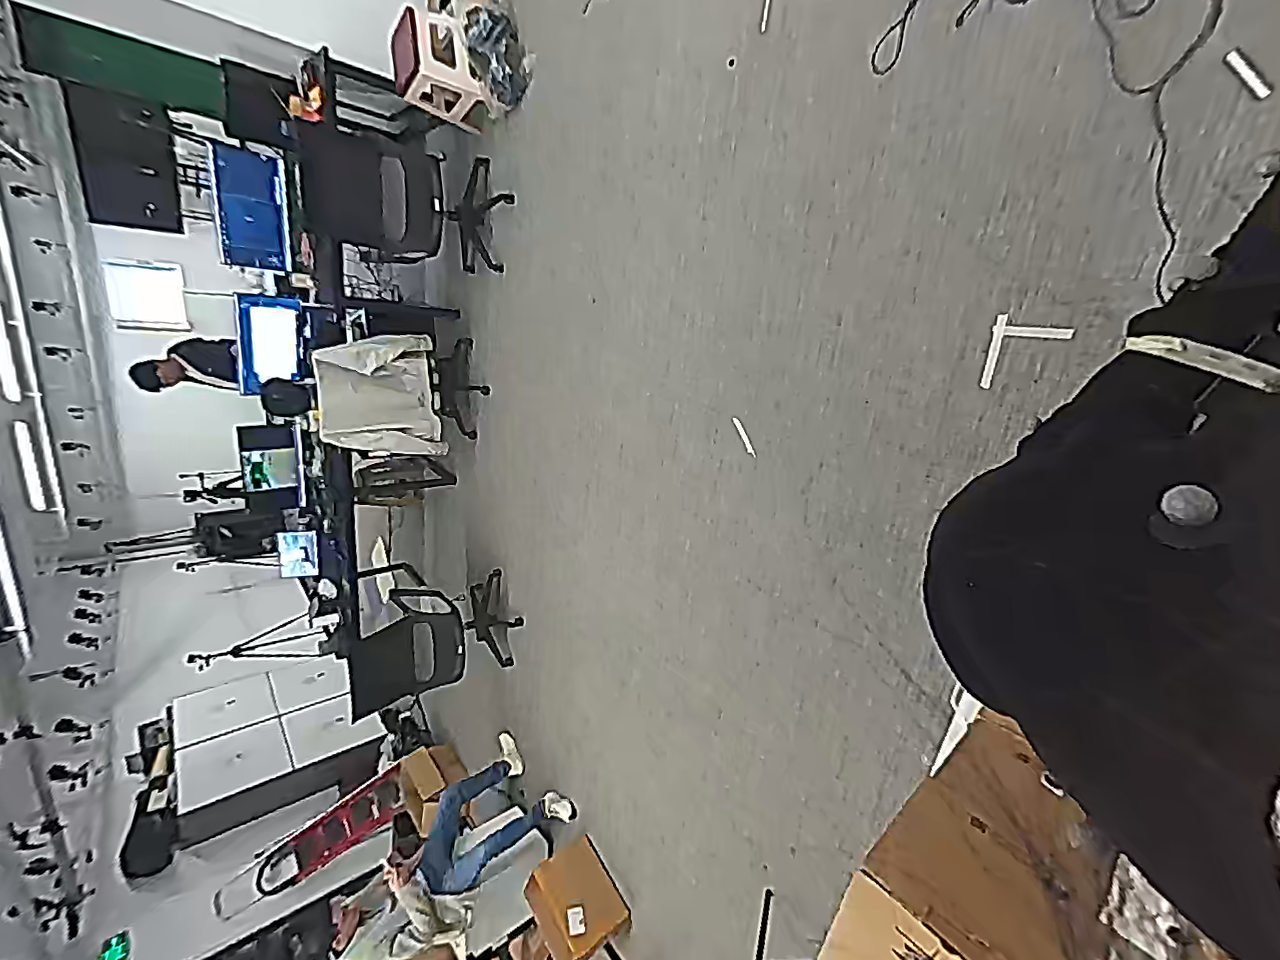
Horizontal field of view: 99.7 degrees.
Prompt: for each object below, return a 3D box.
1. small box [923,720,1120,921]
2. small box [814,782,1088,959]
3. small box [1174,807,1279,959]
[{"bbox_3d":[0.426,0.428,0.638,0.168,0.176,0.179,27,116,42],"label":"small box"},{"bbox_3d":[0.302,0.447,0.531,0.168,0.176,0.179,29,120,41],"label":"small box"},{"bbox_3d":[0.710,0.503,0.571,0.168,0.176,0.179,24,114,45],"label":"small box"}]
